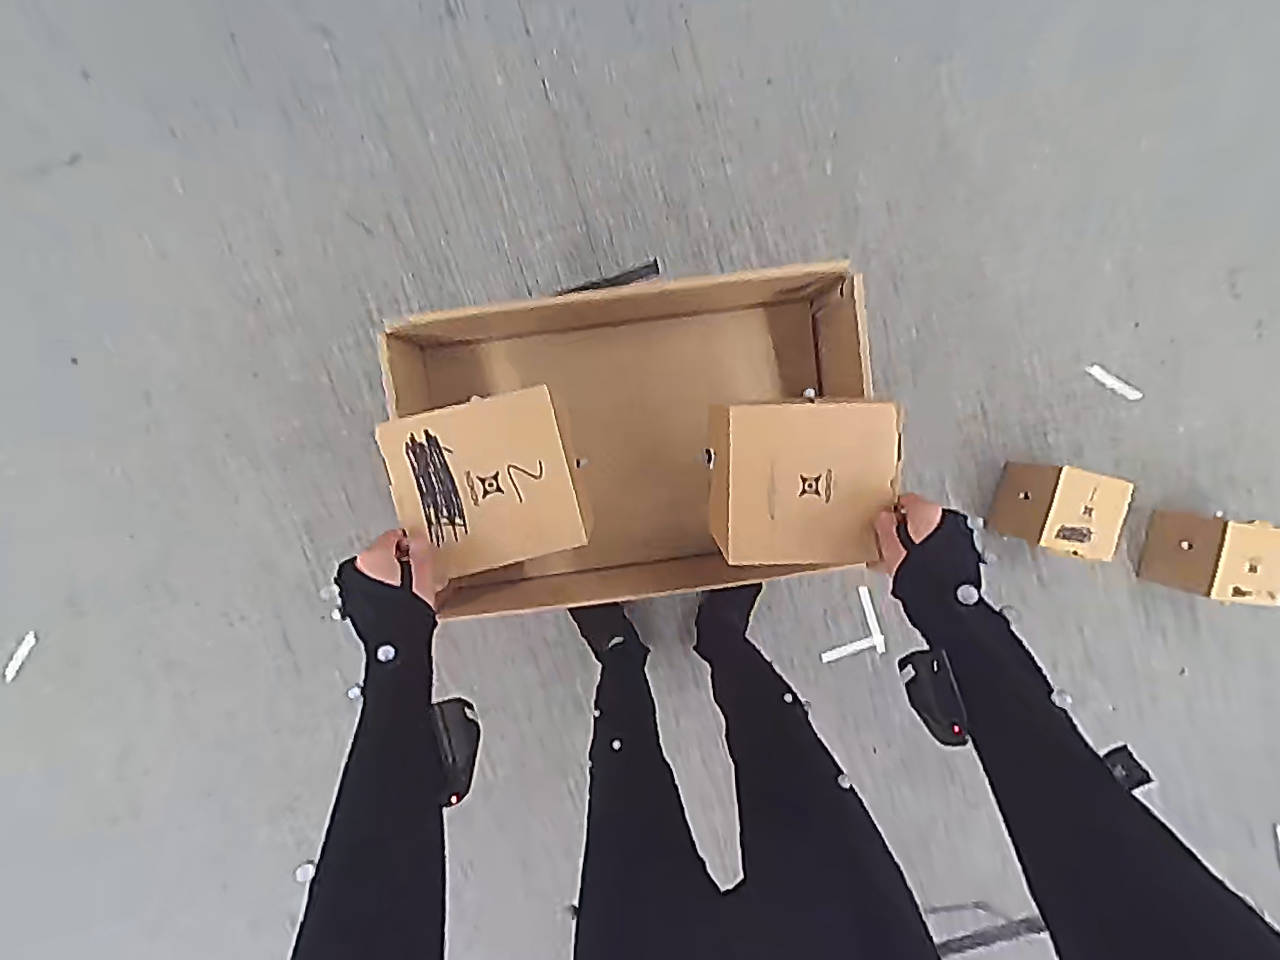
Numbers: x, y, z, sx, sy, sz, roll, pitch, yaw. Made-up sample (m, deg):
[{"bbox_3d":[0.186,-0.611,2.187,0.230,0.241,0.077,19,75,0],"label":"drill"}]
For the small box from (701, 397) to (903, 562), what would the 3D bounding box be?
[{"bbox_3d":[0.171,-0.011,0.622,0.179,0.176,0.168,-2,99,-2],"label":"small box"}]

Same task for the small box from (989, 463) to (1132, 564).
[{"bbox_3d":[0.925,0.068,1.209,0.168,0.176,0.179,14,94,-3],"label":"small box"}]

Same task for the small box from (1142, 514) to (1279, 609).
[{"bbox_3d":[1.305,0.177,1.231,0.168,0.176,0.179,8,94,-2],"label":"small box"}]
